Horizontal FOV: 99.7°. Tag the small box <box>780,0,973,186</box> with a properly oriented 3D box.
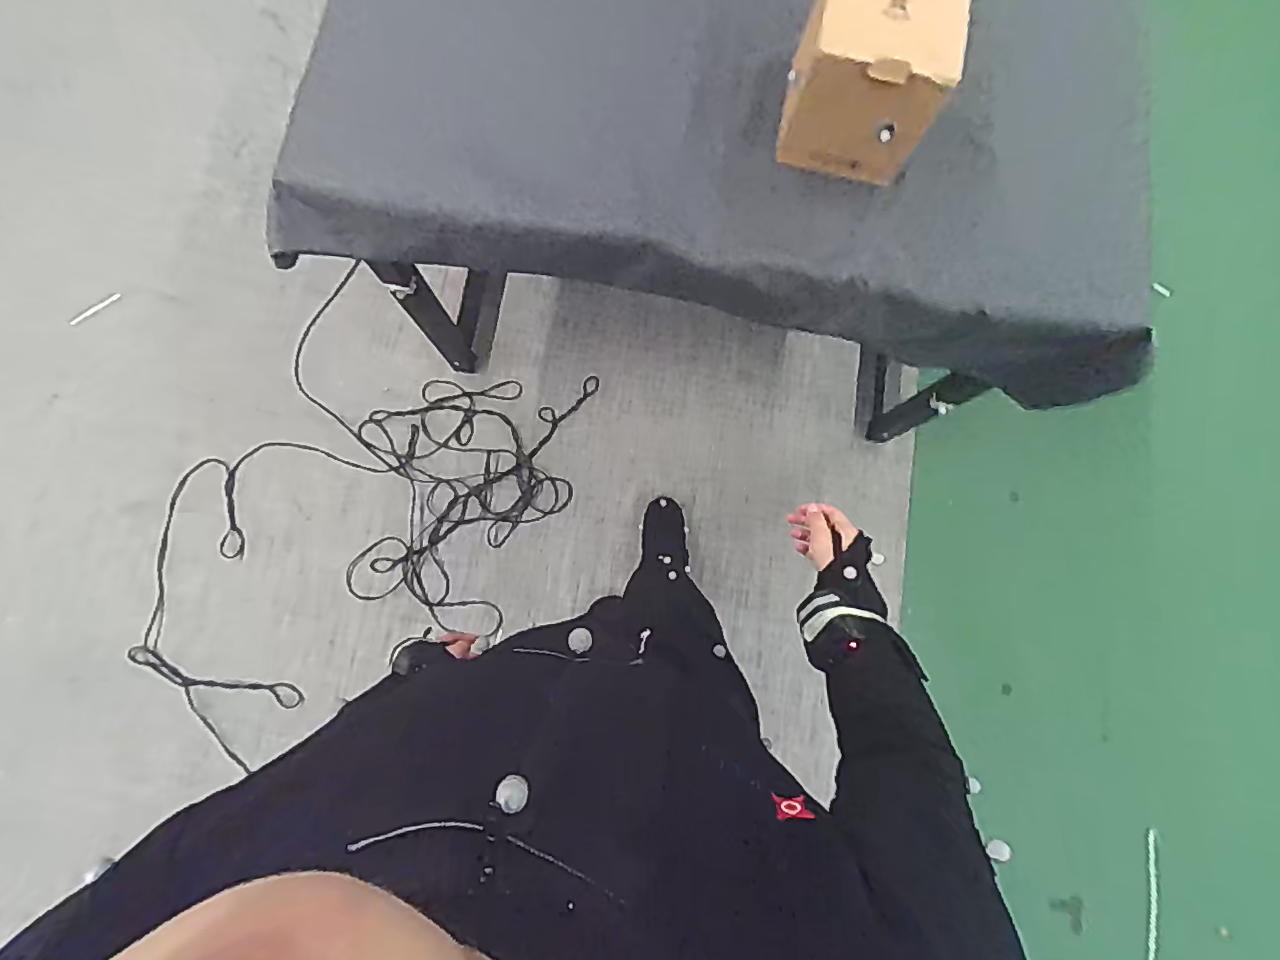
[{"bbox_3d":[0.291,-0.518,0.694,0.168,0.176,0.179,12,79,-1],"label":"small box"}]
